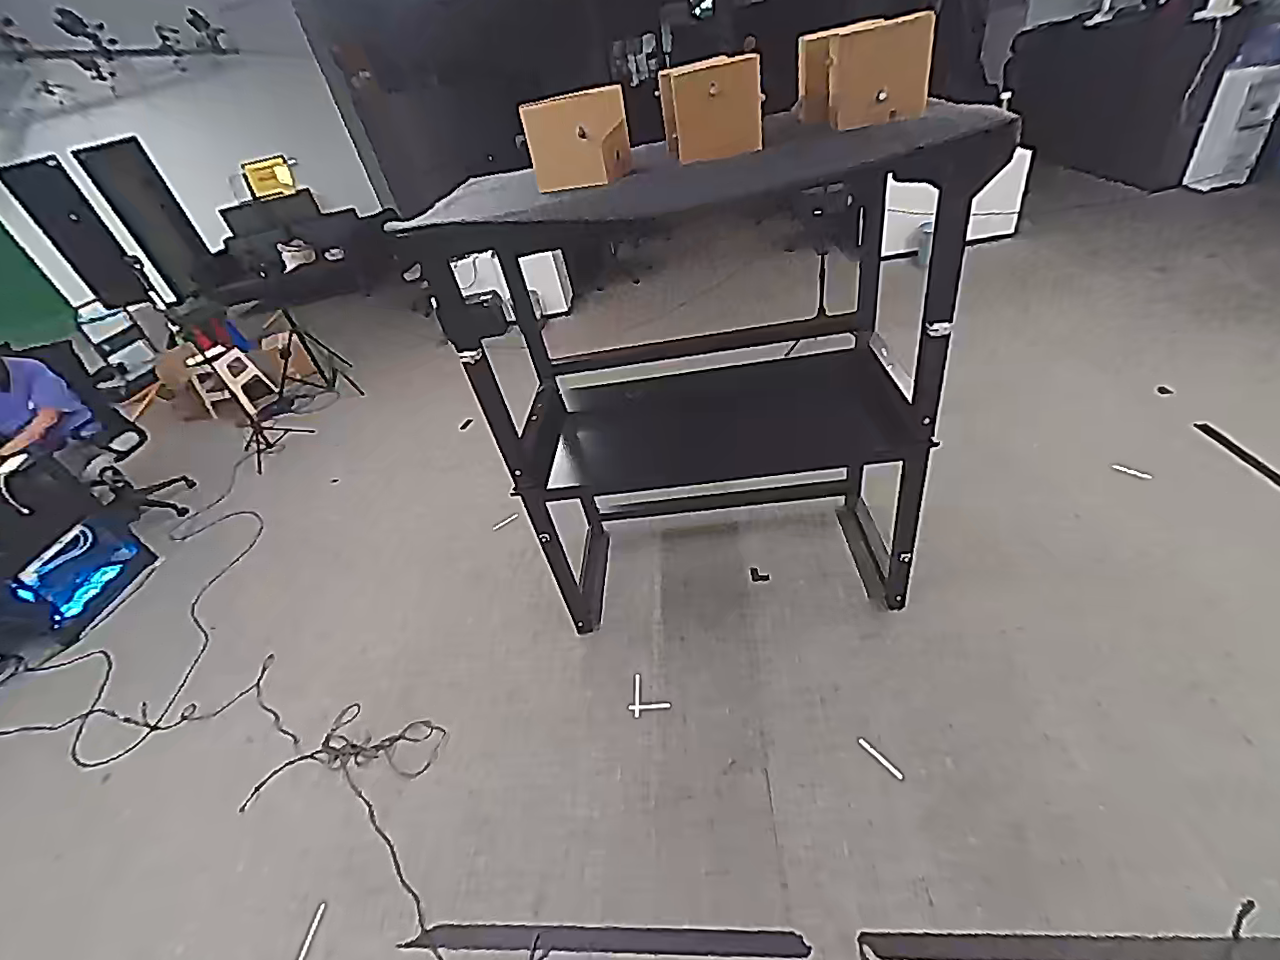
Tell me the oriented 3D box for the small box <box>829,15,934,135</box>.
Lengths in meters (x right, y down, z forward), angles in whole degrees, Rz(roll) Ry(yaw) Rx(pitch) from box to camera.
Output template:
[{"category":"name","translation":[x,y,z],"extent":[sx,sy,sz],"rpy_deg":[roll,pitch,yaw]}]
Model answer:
[{"category":"small box","translation":[0.485,-0.828,1.113],"extent":[0.168,0.176,0.179],"rpy_deg":[-3,39,15]}]

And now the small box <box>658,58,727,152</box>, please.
[{"category":"small box","translation":[0.142,-0.948,1.370],"extent":[0.168,0.176,0.179],"rpy_deg":[-8,38,9]}]

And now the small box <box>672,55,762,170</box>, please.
[{"category":"small box","translation":[0.167,-0.794,1.171],"extent":[0.179,0.176,0.168],"rpy_deg":[-7,38,9]}]
